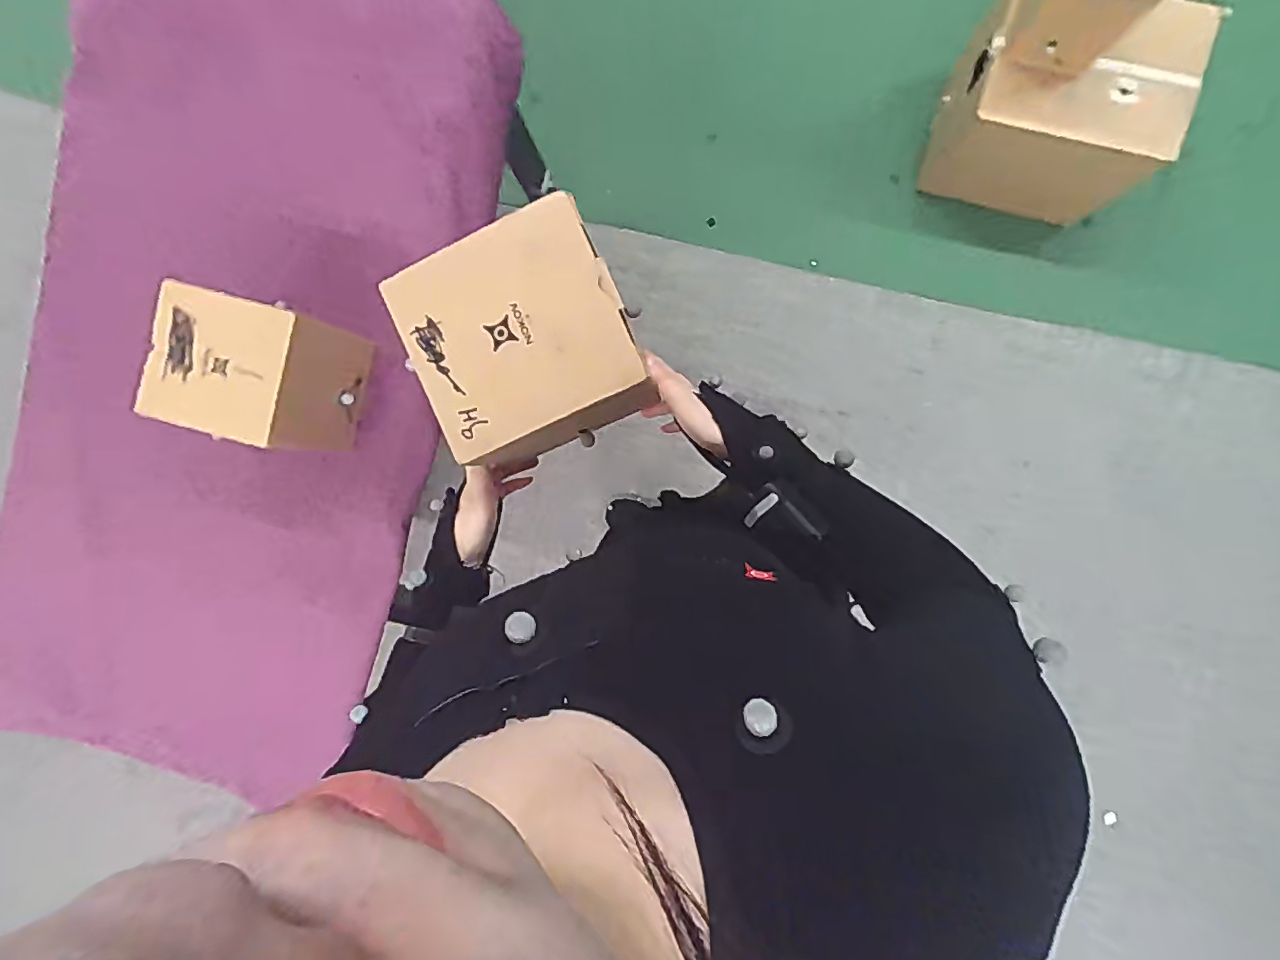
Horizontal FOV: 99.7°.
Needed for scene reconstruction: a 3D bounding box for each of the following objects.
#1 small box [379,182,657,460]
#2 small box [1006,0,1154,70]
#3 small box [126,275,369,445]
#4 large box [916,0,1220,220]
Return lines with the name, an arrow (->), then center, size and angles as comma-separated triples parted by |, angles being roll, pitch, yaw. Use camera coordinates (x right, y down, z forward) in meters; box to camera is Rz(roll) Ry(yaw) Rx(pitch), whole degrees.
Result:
small box -> -0.093, -0.126, 0.500 | 0.179, 0.176, 0.168 | -23, 90, 5
small box -> 0.820, -0.916, 0.995 | 0.168, 0.176, 0.179 | 16, 93, 3
small box -> -0.499, -0.143, 0.710 | 0.179, 0.176, 0.168 | 15, 94, 3
large box -> 0.926, -0.849, 1.233 | 0.408, 0.320, 0.320 | 15, 94, 3
